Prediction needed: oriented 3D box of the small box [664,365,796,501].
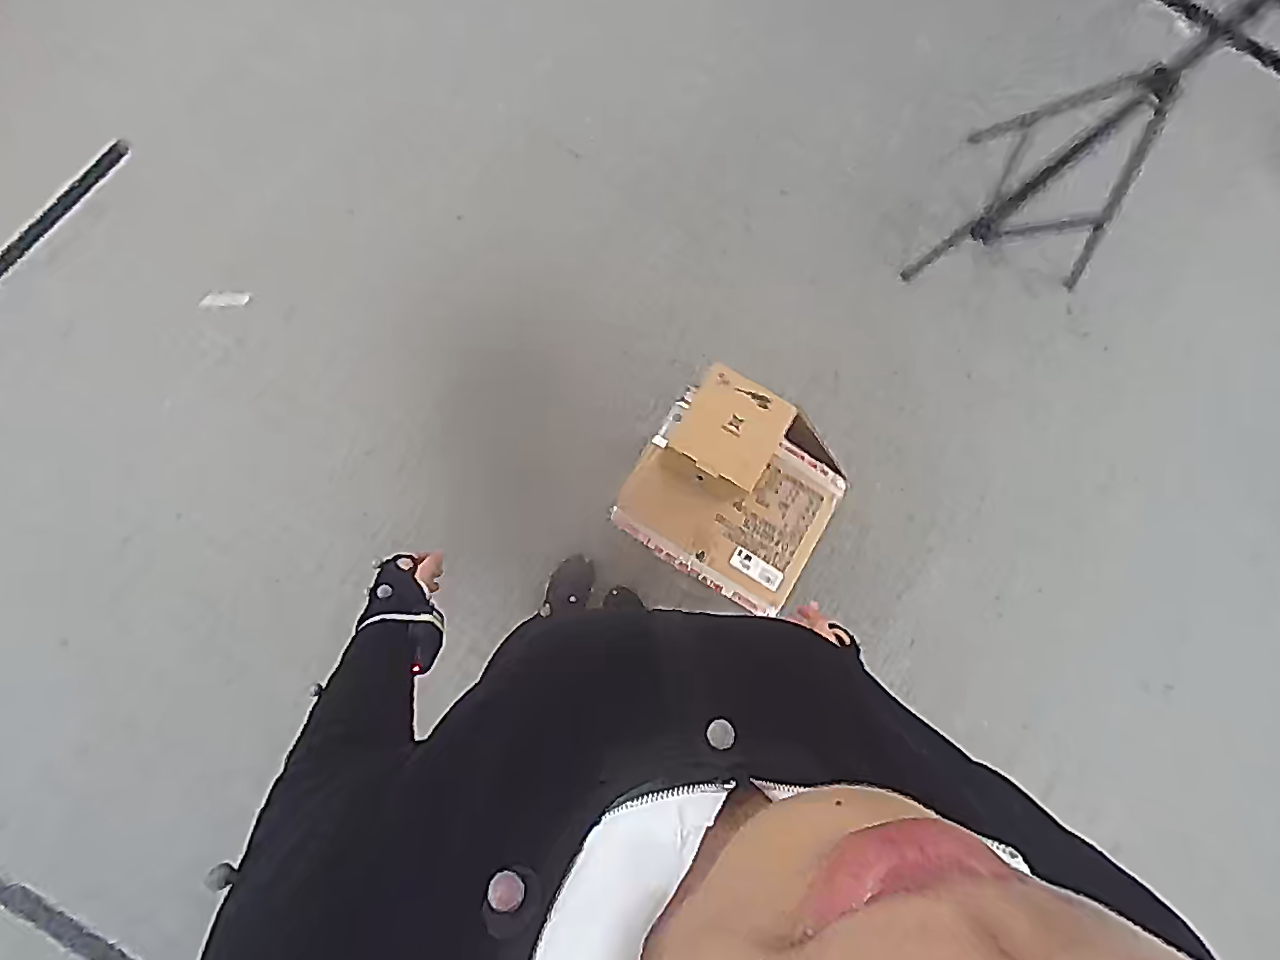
[{"bbox_3d":[0.155,-0.076,0.998,0.168,0.176,0.179,31,82,1],"label":"small box"}]
